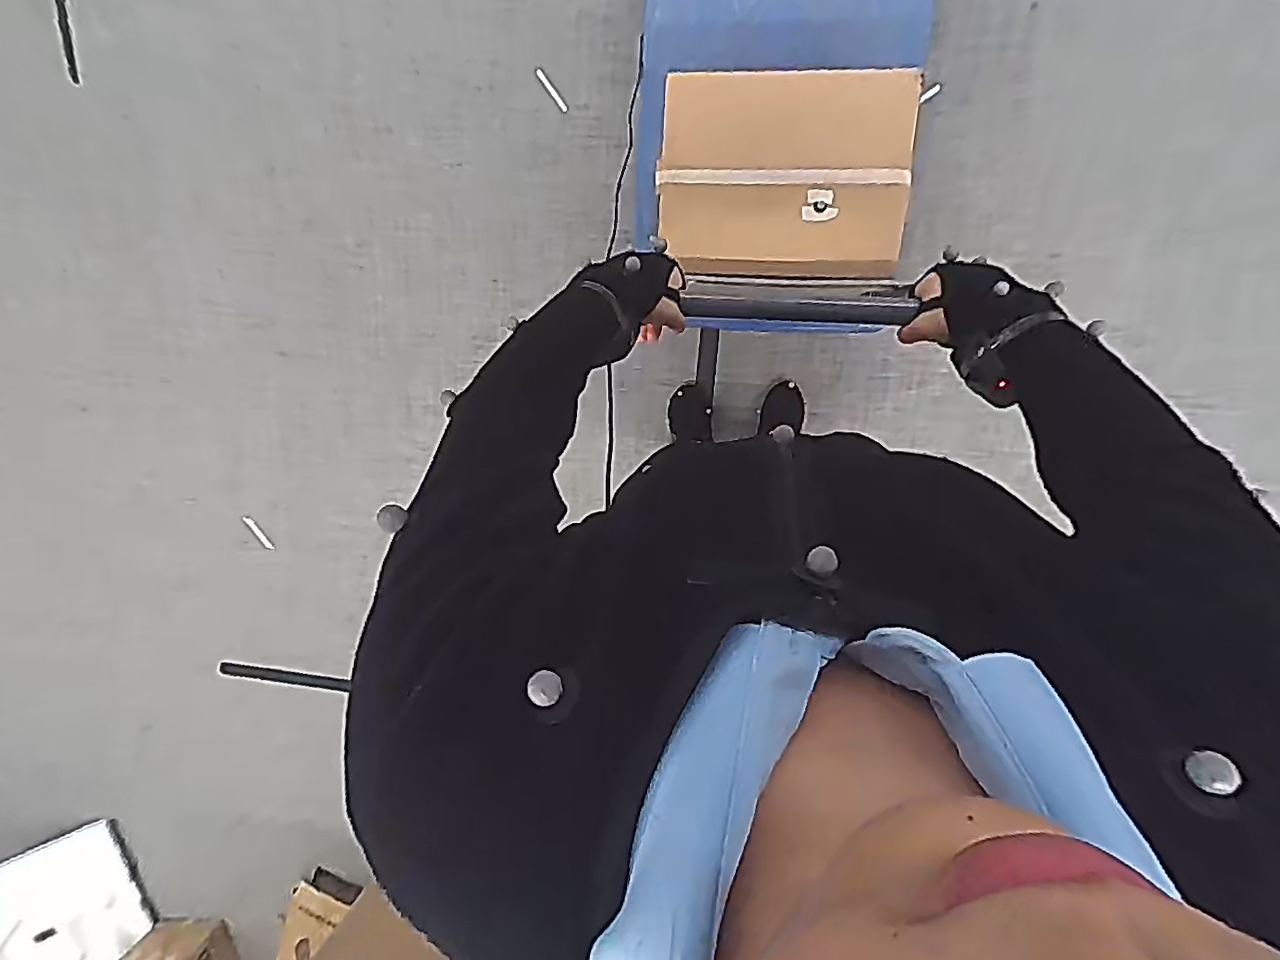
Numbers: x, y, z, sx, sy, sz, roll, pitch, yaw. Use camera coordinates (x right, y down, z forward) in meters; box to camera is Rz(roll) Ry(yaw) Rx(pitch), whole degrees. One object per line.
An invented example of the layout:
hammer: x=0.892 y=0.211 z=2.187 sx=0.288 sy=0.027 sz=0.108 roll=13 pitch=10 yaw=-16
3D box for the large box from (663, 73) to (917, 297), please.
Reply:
large box: x=0.258 y=-0.540 z=1.059 sx=0.408 sy=0.320 sz=0.320 roll=4 pitch=103 yaw=6
